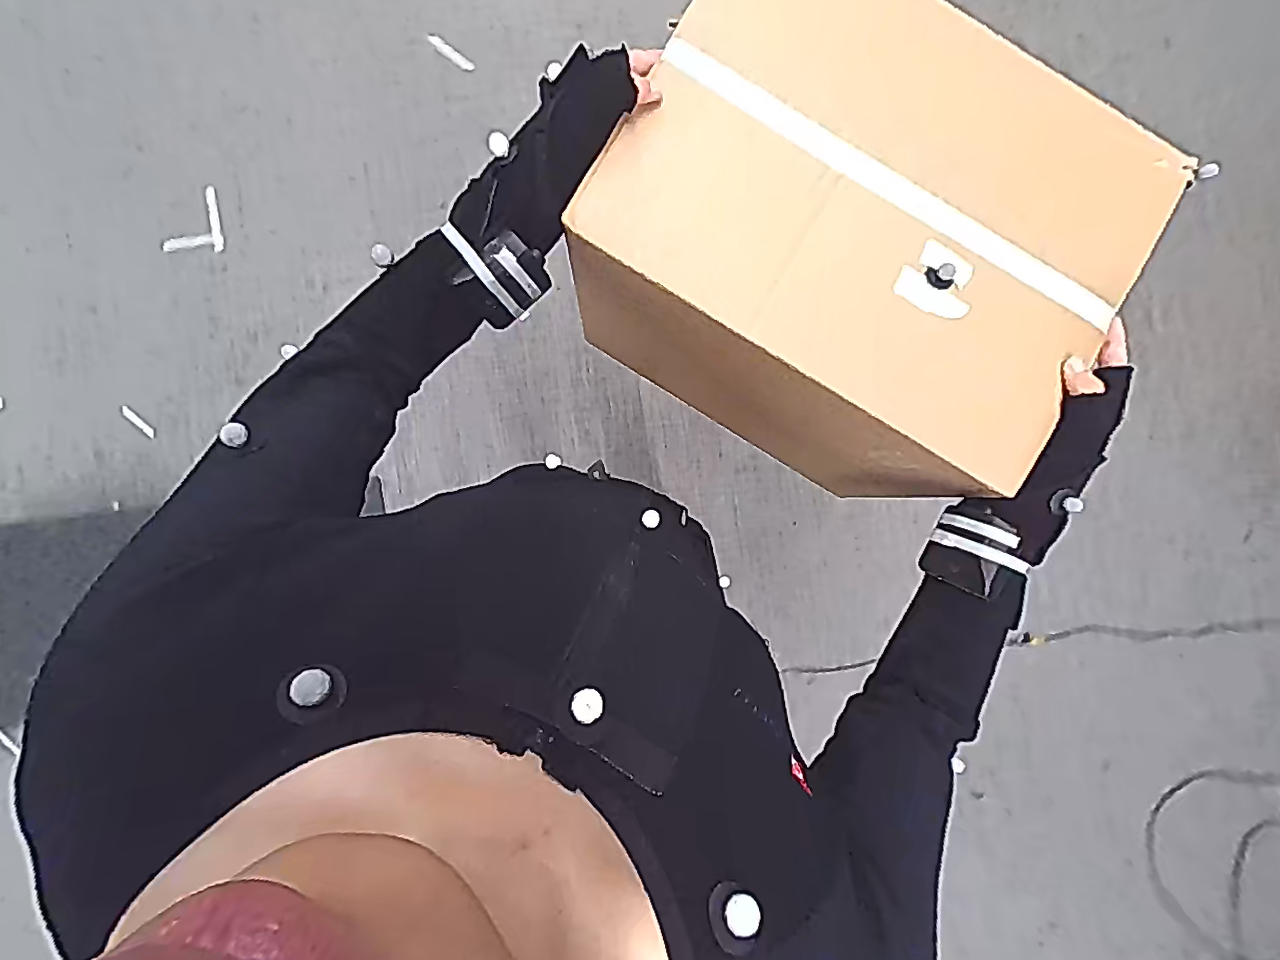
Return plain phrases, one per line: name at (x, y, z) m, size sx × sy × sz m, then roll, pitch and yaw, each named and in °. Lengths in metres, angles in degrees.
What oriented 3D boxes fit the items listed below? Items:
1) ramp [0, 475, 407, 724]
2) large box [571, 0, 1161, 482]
ramp at (-1.150, 0.284, 1.379) m, size 0.991 × 0.206 × 0.509 m, roll -9°, pitch 88°, yaw -2°
large box at (0.179, -0.229, 0.582) m, size 0.408 × 0.320 × 0.320 m, roll 30°, pitch 87°, yaw -1°
